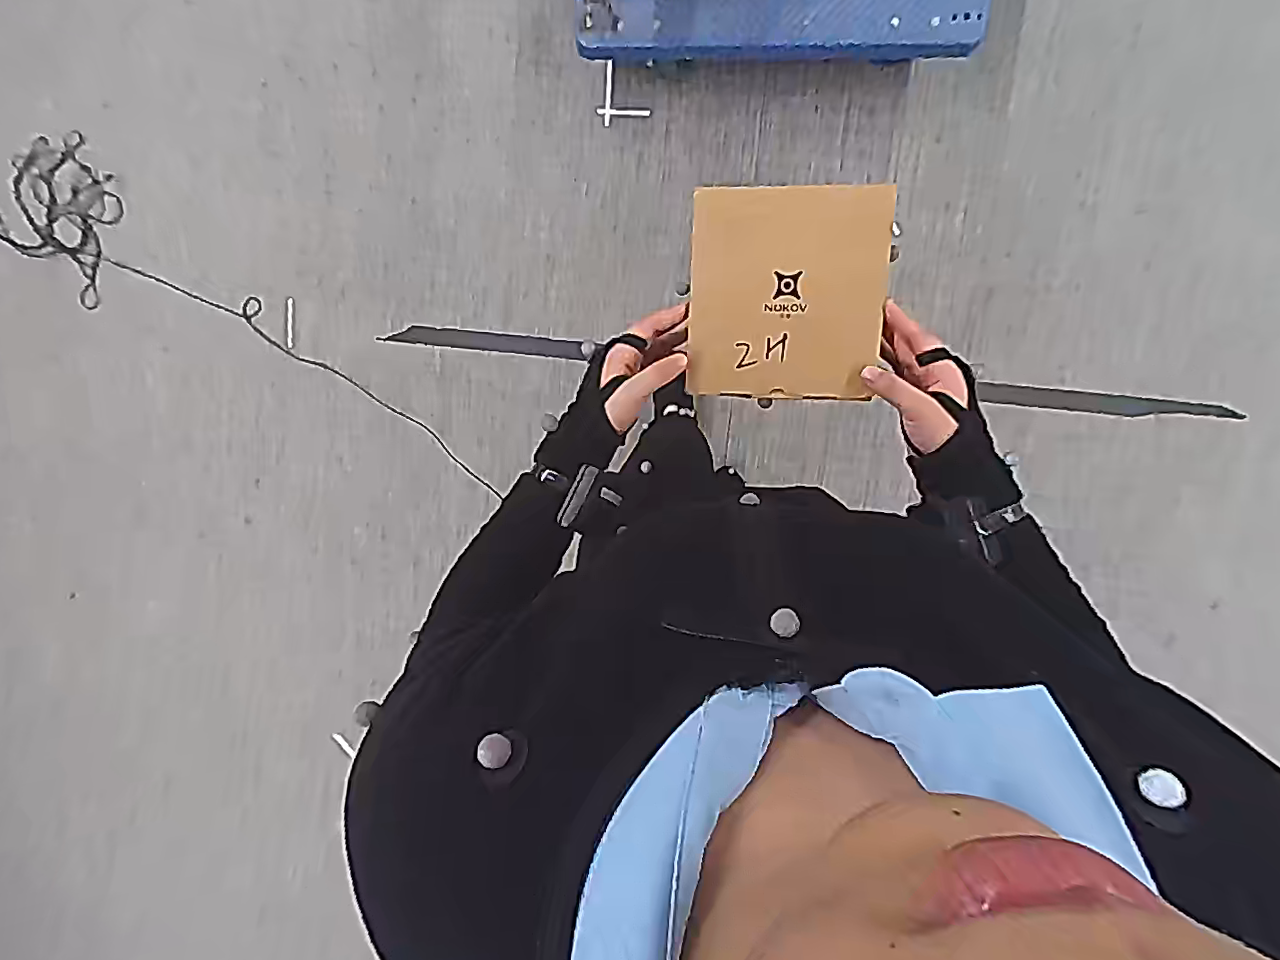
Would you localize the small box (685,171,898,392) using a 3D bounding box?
[{"bbox_3d":[0.135,-0.180,0.535,0.168,0.176,0.179,3,101,8],"label":"small box"}]
